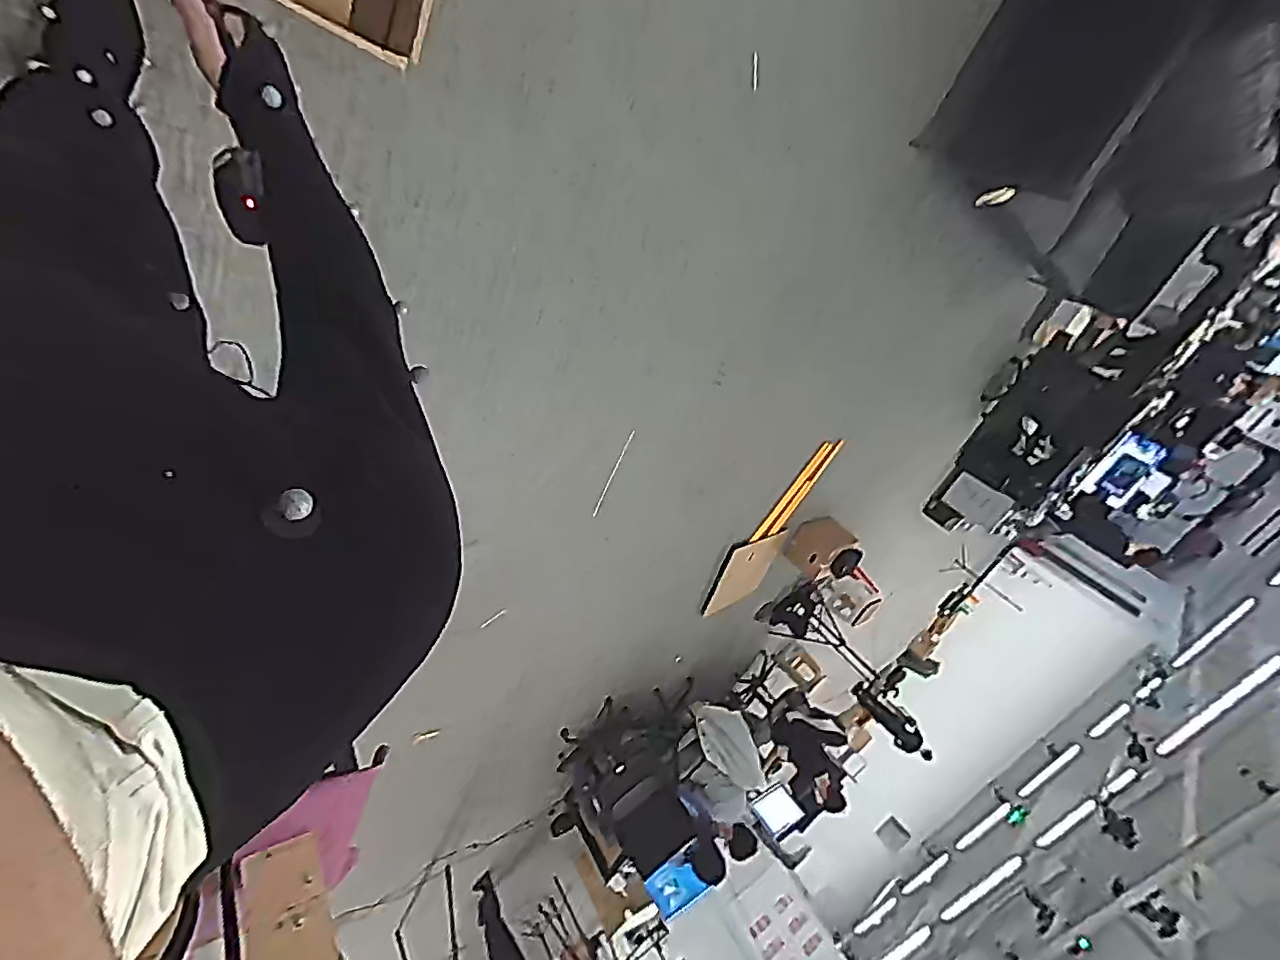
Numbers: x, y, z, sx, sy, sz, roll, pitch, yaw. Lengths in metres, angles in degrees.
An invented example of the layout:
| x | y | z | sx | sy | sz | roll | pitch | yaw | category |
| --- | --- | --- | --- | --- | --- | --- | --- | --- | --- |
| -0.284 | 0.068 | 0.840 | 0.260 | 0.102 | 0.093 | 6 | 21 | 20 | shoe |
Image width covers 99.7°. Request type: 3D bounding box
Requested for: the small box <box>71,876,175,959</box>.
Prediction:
| x | y | z | sx | sy | sz | roll | pitch | yaw | category |
| --- | --- | --- | --- | --- | --- | --- | --- | --- | --- |
| -1.170 | 1.056 | 1.228 | 0.168 | 0.176 | 0.179 | -1 | 126 | -43 | small box |

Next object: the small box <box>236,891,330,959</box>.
| x | y | z | sx | sy | sz | roll | pitch | yaw | category |
| --- | --- | --- | --- | --- | --- | --- | --- | --- | --- |
| -0.884 | 1.169 | 1.332 | 0.168 | 0.176 | 0.179 | -2 | 127 | -43 | small box |
